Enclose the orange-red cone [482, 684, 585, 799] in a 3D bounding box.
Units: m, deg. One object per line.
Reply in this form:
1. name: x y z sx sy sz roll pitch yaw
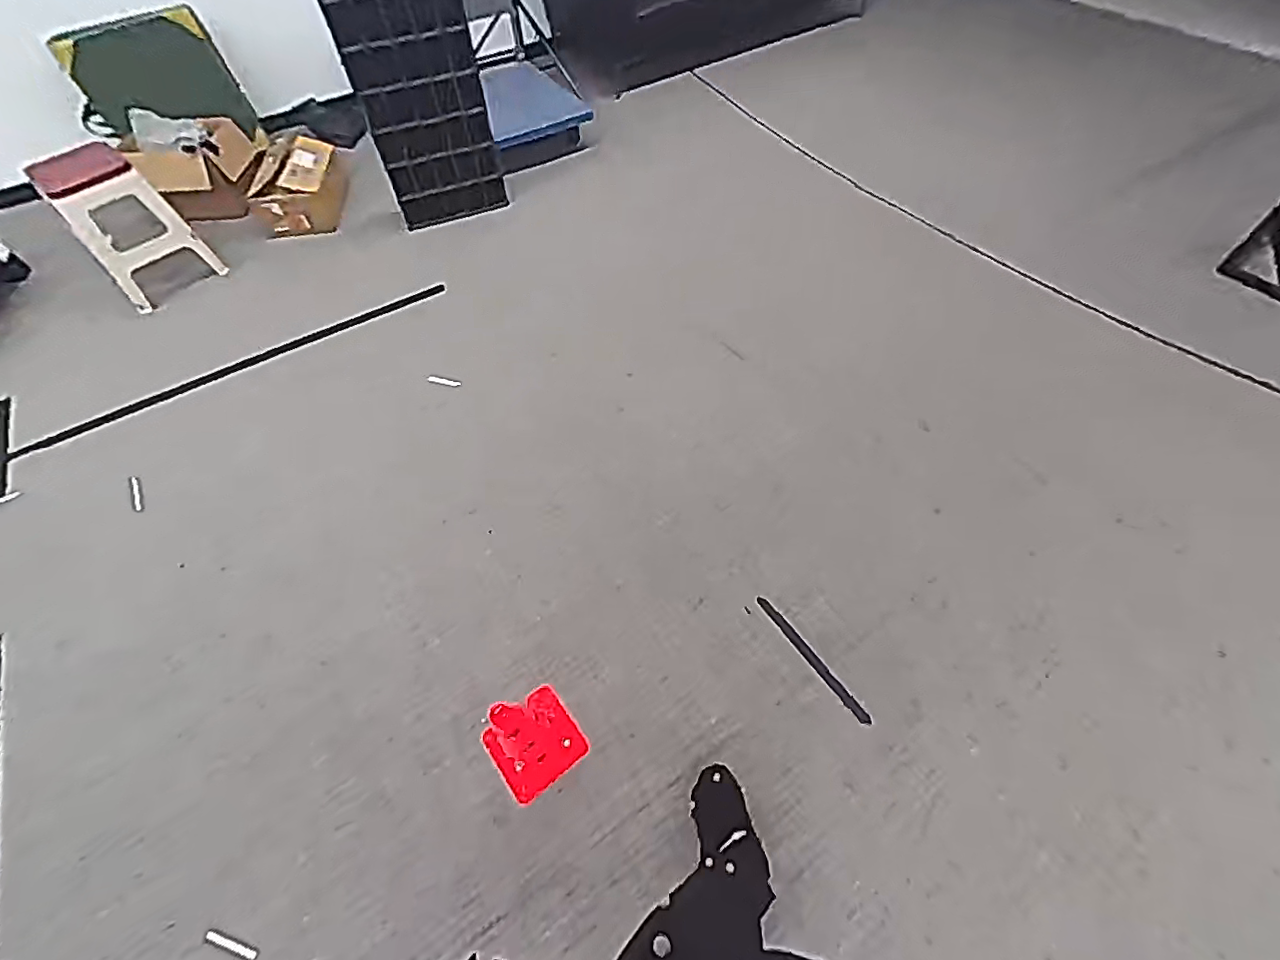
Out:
1. orange-red cone: -0.261 0.522 1.152 0.198 0.360 0.199 -33 60 -19
